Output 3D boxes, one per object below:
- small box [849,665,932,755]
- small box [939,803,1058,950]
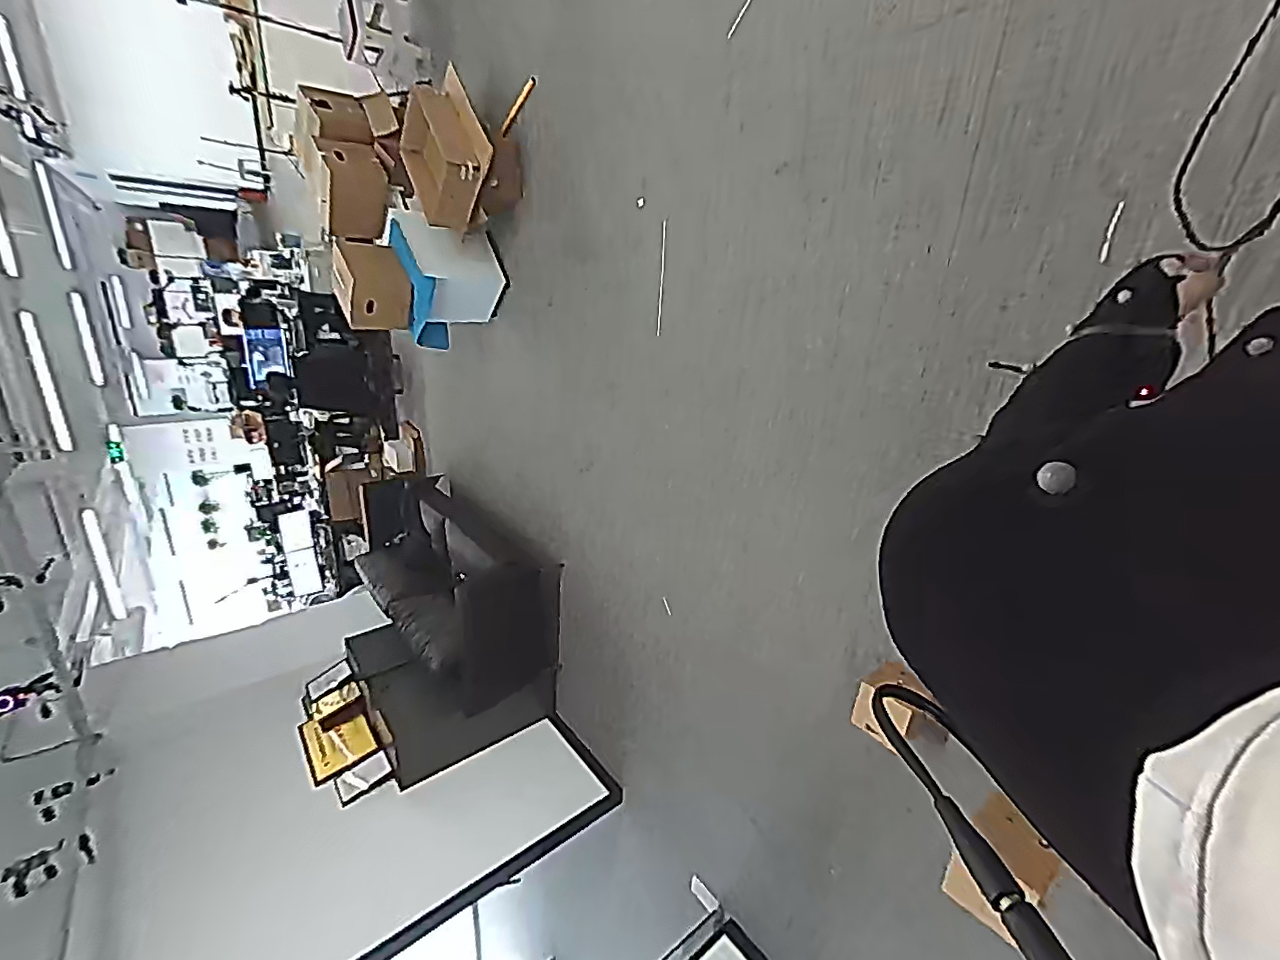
[{"bbox_3d":[0.811,0.733,1.744,0.168,0.176,0.179,28,120,46],"label":"small box"},{"bbox_3d":[0.821,0.892,1.236,0.168,0.176,0.179,23,118,47],"label":"small box"}]
